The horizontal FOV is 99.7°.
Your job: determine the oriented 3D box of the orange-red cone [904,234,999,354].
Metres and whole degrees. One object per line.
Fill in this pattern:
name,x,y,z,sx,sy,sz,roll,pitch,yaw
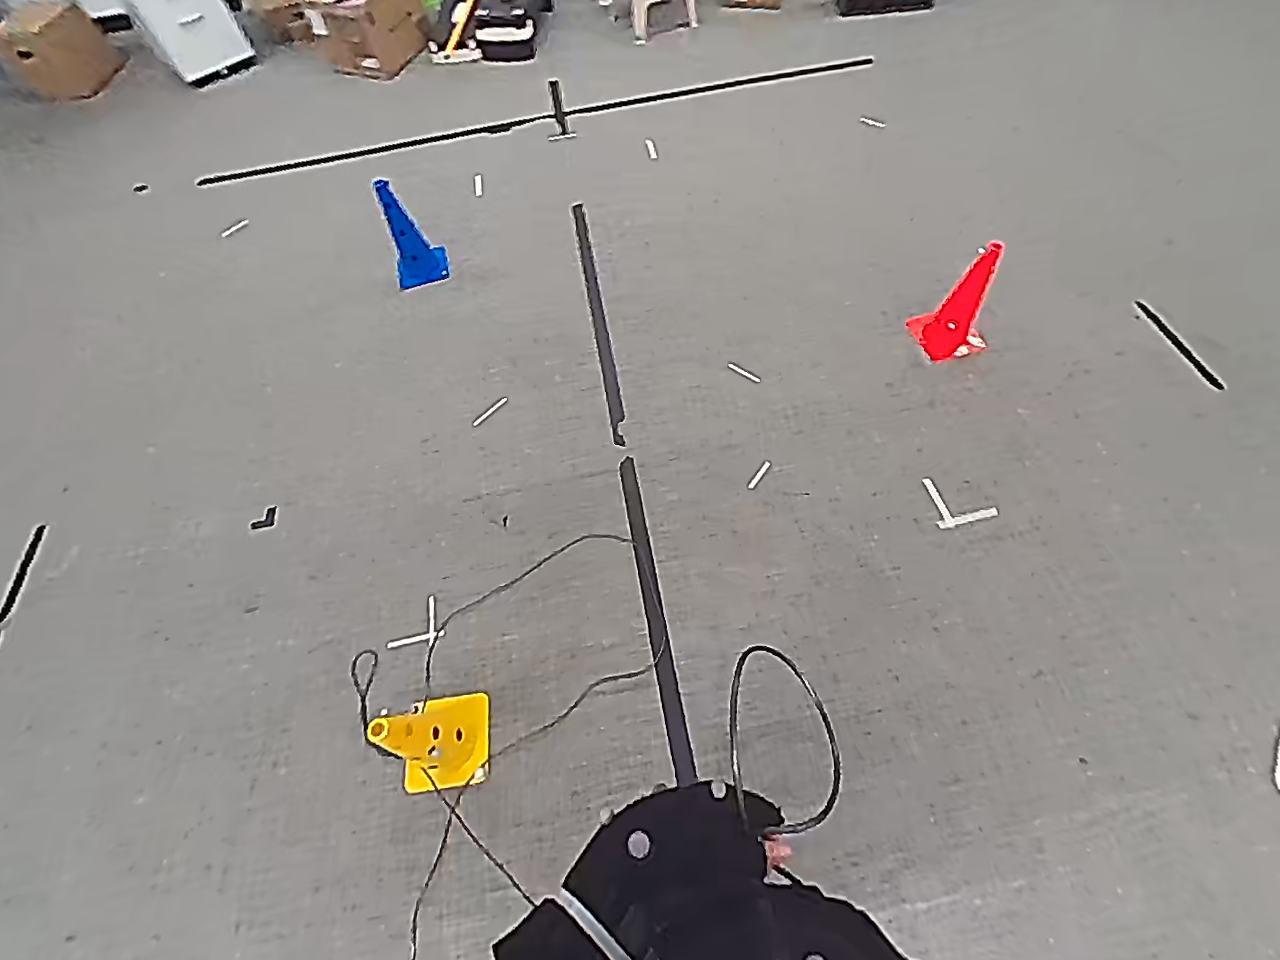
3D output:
orange-red cone,1.003,-0.595,1.671,0.198,0.360,0.199,-15,60,-4

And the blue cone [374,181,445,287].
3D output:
blue cone,-0.895,-0.928,2.021,0.192,0.380,0.193,-16,61,-4
